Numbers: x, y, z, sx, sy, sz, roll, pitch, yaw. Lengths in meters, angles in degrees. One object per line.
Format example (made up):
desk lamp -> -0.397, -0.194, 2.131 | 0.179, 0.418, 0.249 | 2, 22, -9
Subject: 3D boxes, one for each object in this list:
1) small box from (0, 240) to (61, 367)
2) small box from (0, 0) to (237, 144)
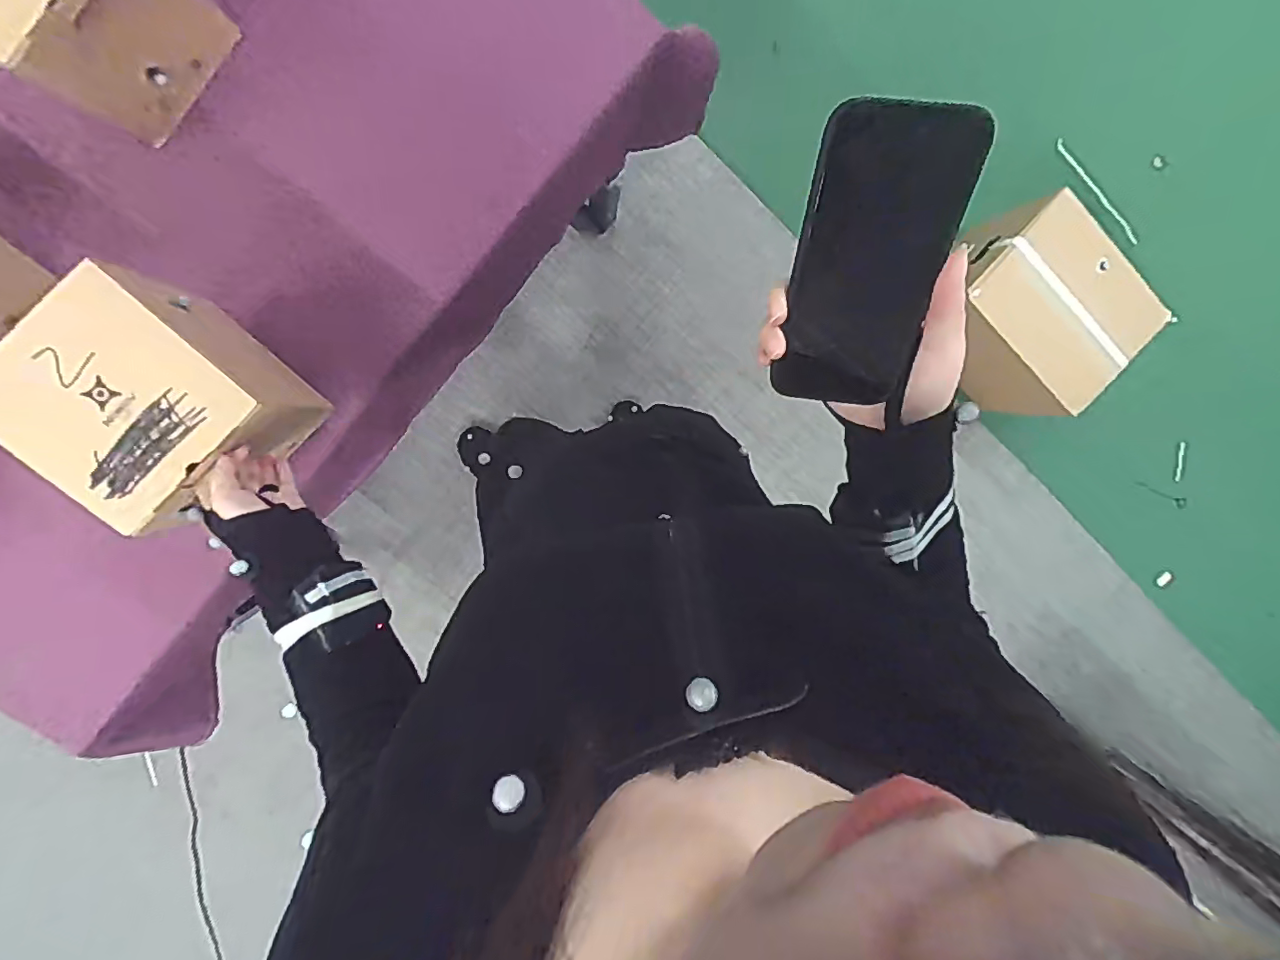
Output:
small box -> -0.778, -0.206, 0.547 | 0.179, 0.176, 0.168 | 40, 93, -10
small box -> -0.558, -0.476, 0.522 | 0.179, 0.176, 0.168 | 38, 94, -11
